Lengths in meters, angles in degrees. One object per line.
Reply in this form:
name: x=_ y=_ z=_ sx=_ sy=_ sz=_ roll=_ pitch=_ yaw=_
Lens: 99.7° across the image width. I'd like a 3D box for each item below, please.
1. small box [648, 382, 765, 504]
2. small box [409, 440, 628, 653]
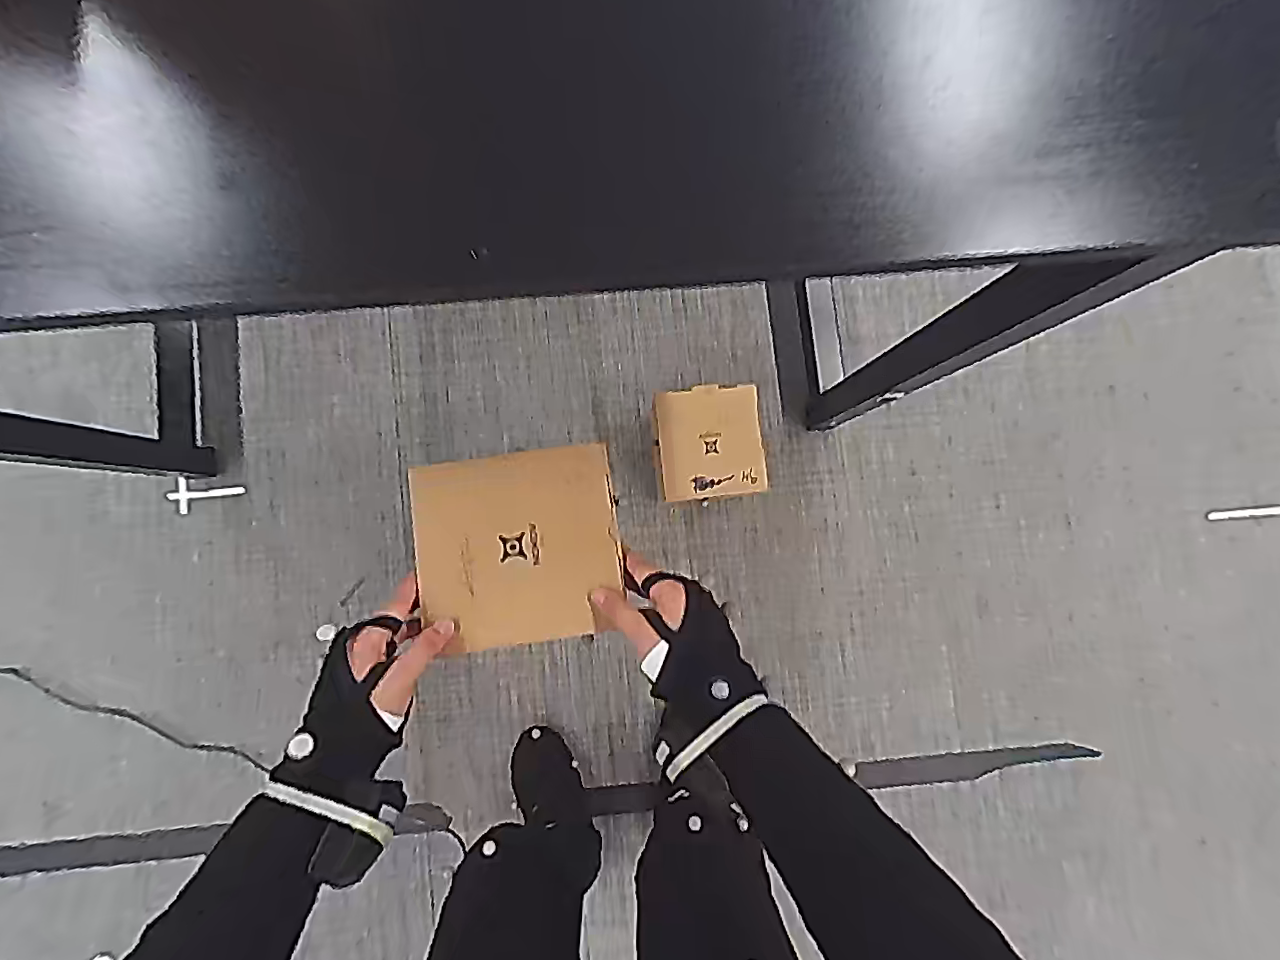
small box: x=0.105 y=-0.056 z=0.934 sx=0.168 sy=0.176 sz=0.179 roll=-6 pitch=85 yaw=-2
small box: x=-0.110 y=0.069 z=0.551 sx=0.179 sy=0.176 sz=0.168 roll=-10 pitch=79 yaw=-2
